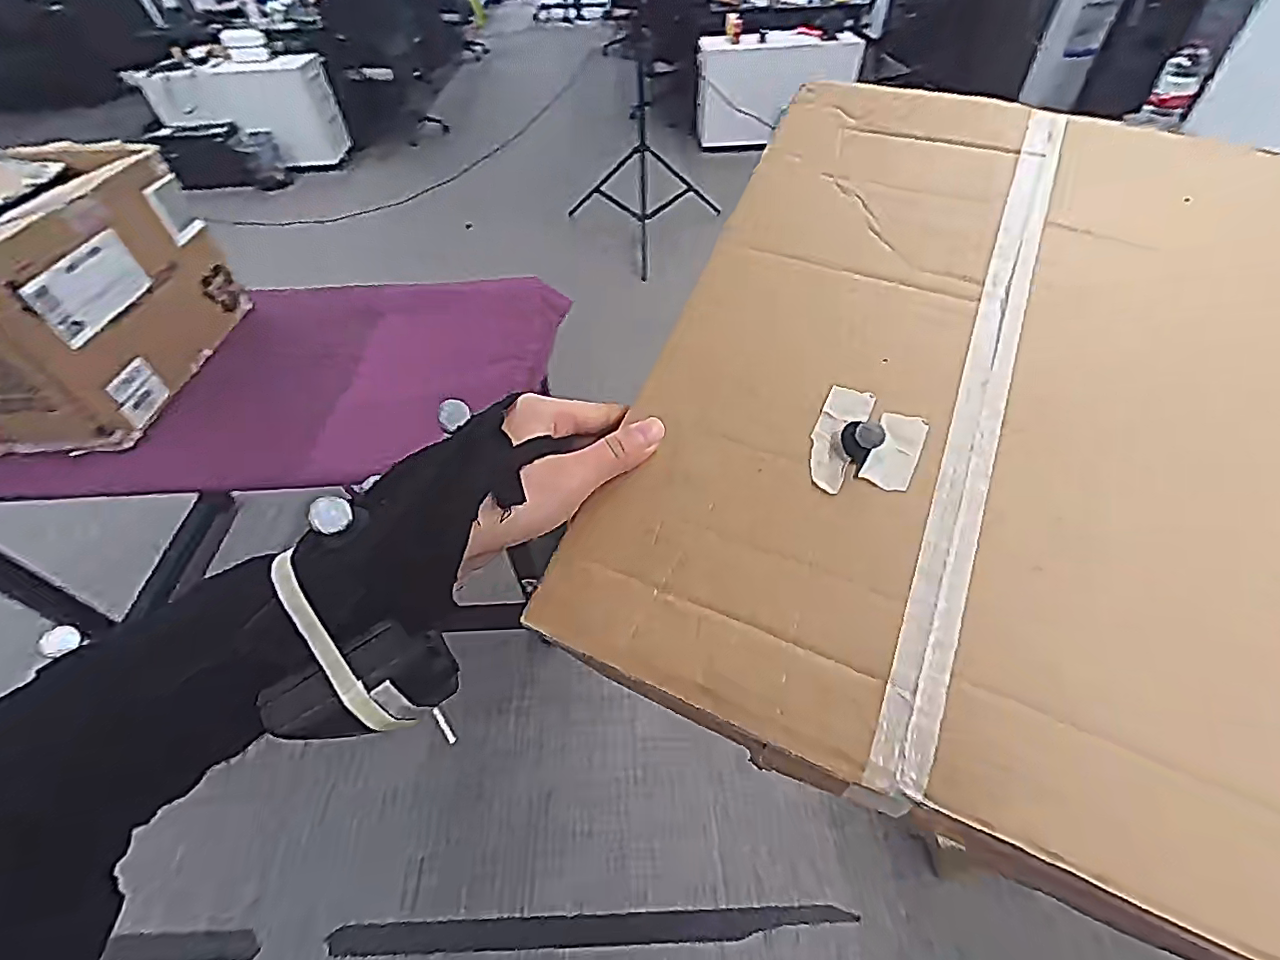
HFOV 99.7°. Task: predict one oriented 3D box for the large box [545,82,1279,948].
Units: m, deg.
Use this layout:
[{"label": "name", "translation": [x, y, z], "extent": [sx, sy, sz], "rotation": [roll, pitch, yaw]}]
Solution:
[{"label": "large box", "translation": [0.180, 0.001, 0.410], "extent": [0.320, 0.320, 0.408], "rotation": [19, 69, 14]}]
